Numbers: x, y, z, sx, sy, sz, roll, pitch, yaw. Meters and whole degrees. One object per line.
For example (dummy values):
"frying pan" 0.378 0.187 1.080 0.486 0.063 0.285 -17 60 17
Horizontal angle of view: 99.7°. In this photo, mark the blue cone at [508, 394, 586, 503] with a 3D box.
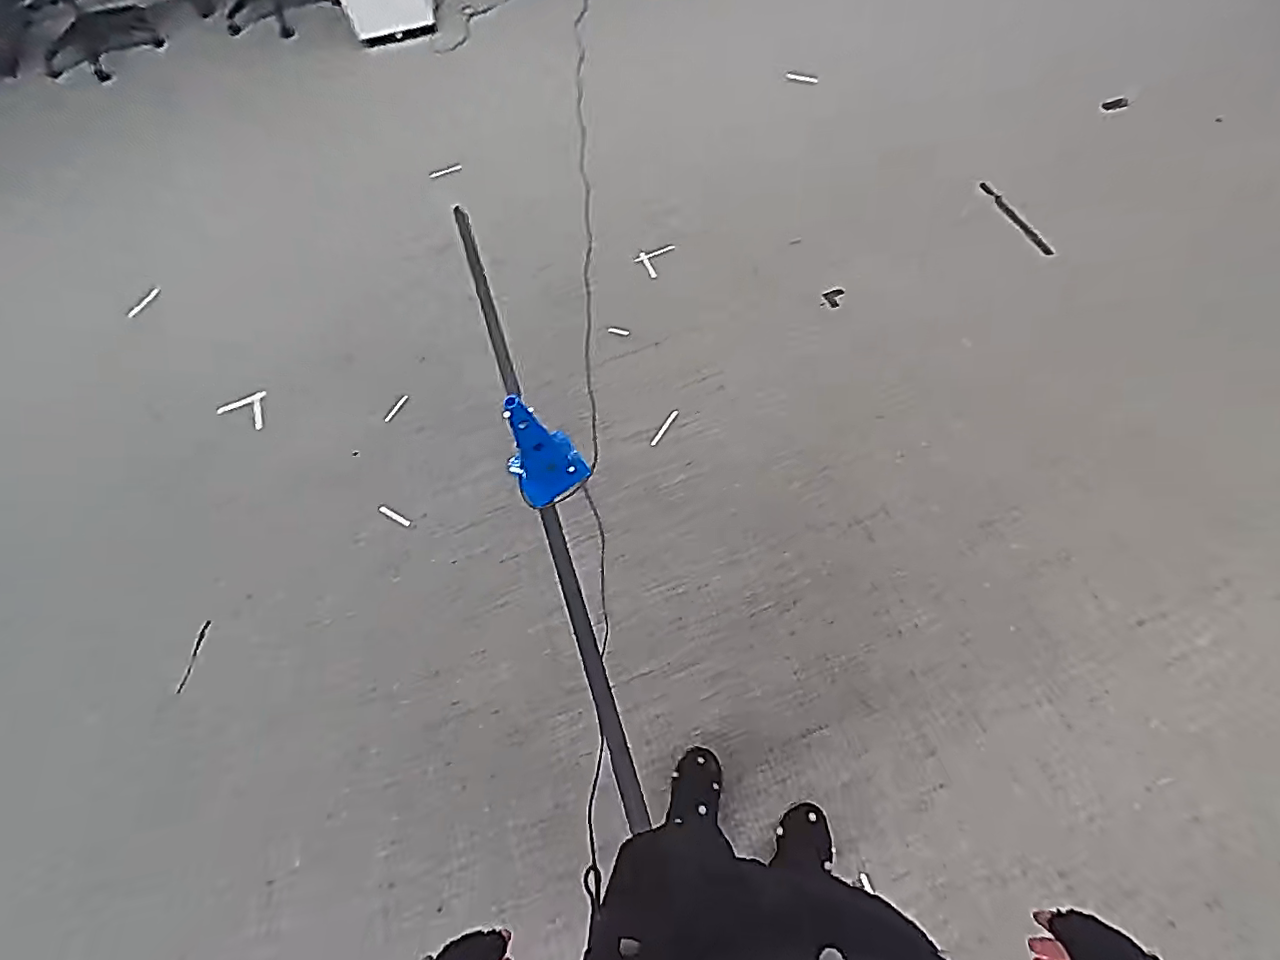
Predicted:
"blue cone" -0.293 -0.116 1.475 0.193 0.380 0.192 -35 65 -11
